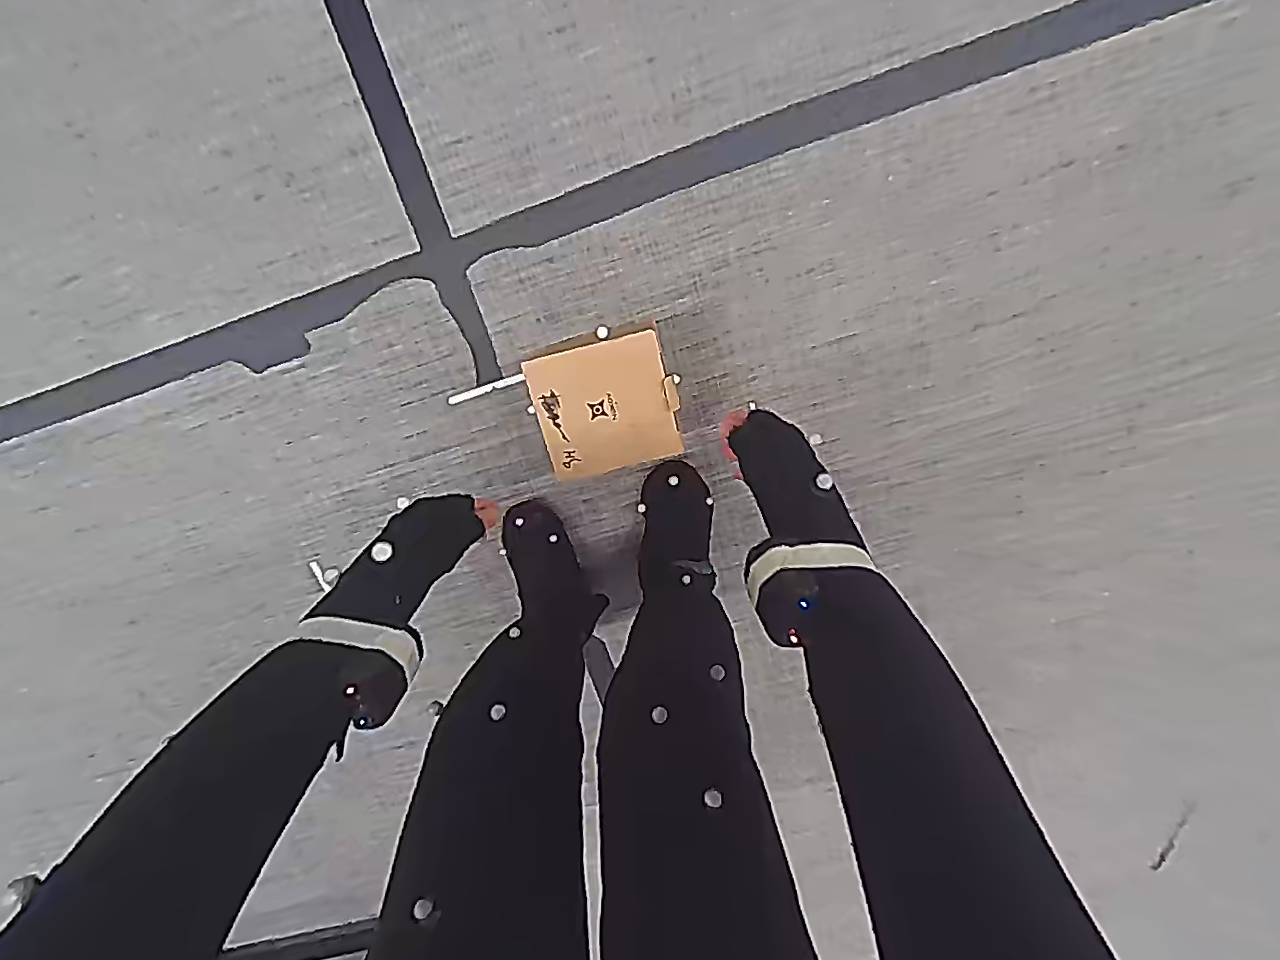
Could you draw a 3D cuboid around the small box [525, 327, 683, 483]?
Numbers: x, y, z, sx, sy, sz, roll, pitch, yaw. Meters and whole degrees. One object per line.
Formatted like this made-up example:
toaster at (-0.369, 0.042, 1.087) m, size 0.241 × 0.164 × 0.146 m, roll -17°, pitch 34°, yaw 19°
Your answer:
small box at (-0.046, -0.115, 0.768) m, size 0.179 × 0.176 × 0.168 m, roll -12°, pitch 110°, yaw 3°
